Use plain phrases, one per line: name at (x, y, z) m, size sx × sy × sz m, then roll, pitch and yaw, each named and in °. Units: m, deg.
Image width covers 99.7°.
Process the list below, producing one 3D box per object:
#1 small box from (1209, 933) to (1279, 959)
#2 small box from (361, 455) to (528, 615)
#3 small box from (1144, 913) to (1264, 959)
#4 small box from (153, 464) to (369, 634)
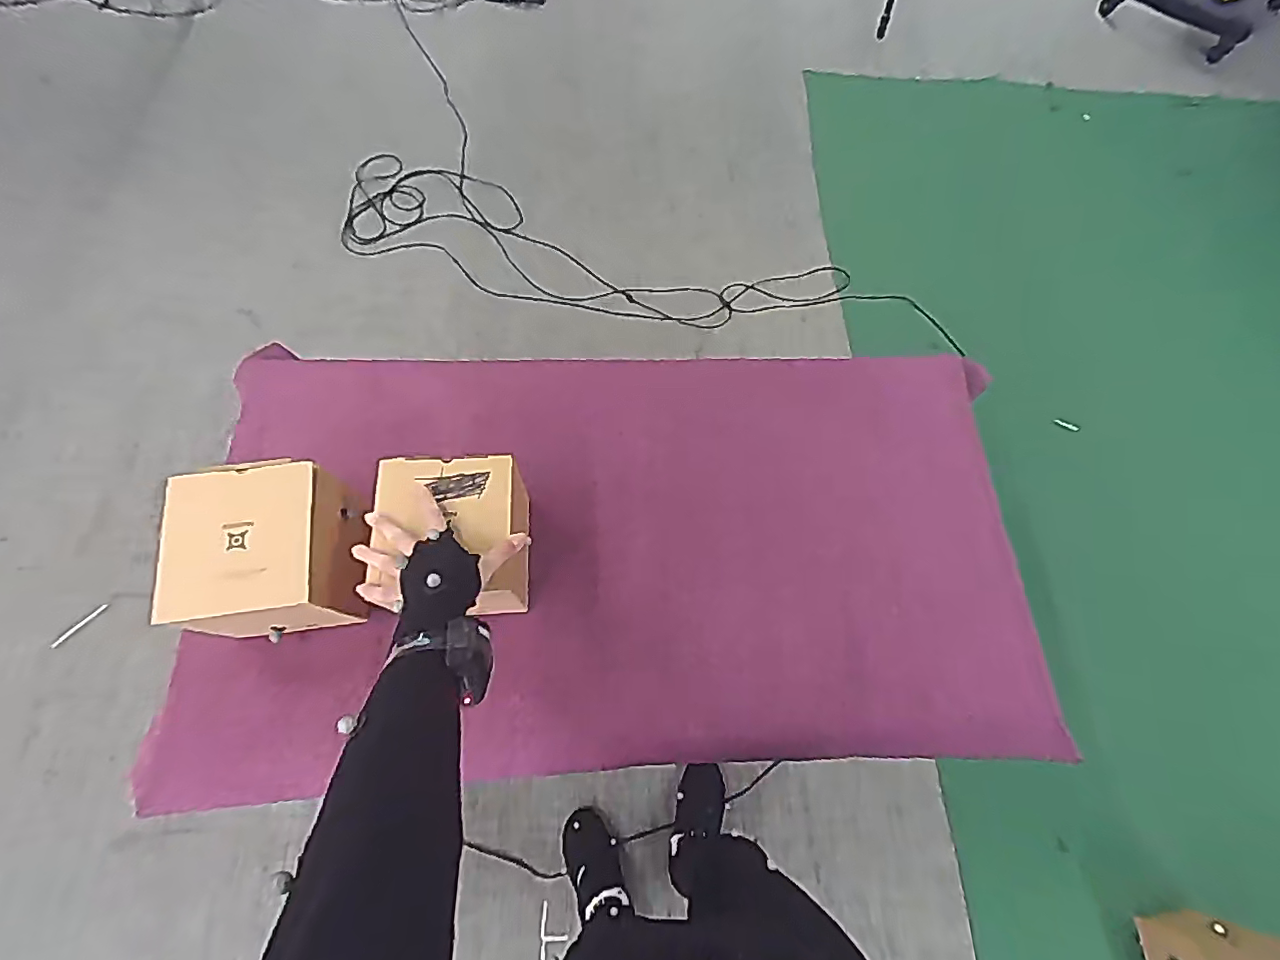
small box at (1.285, 1.022, 1.041) m, size 0.168 × 0.176 × 0.179 m, roll -4°, pitch 69°, yaw -5°
small box at (-0.246, 0.079, 0.727) m, size 0.168 × 0.176 × 0.179 m, roll -2°, pitch 70°, yaw -4°
small box at (1.275, 1.087, 1.191) m, size 0.179 × 0.176 × 0.168 m, roll -2°, pitch 68°, yaw -5°
small box at (-0.473, 0.096, 0.709) m, size 0.168 × 0.176 × 0.179 m, roll -7°, pitch 70°, yaw -5°
